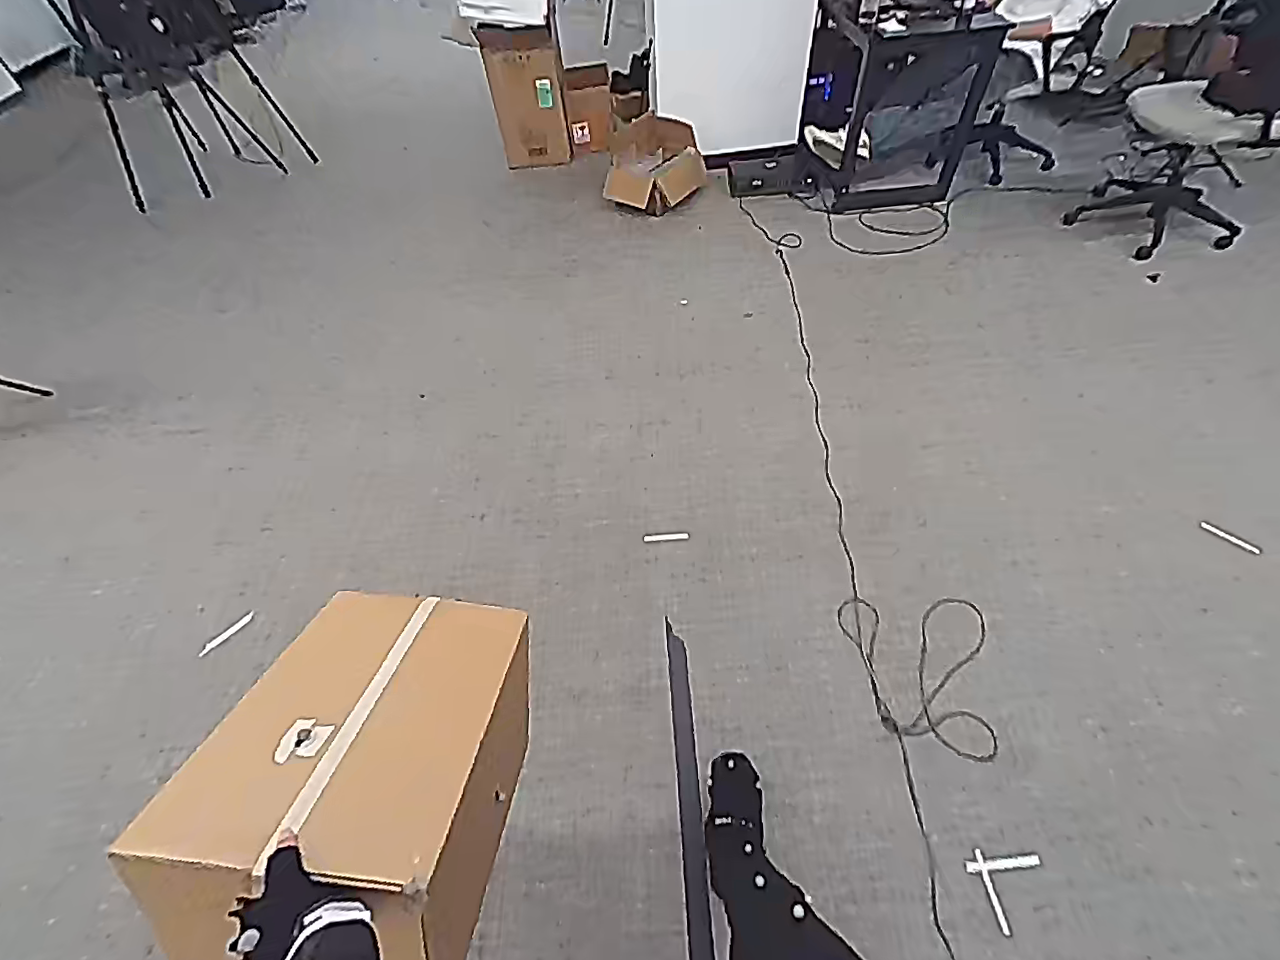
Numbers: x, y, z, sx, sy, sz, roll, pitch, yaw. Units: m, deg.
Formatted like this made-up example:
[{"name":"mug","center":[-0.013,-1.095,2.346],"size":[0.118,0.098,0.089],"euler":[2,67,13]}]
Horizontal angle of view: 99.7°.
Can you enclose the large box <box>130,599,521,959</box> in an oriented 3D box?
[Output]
[{"name":"large box","center":[-0.365,0.432,0.777],"size":[0.320,0.320,0.408],"euler":[5,27,0]}]
